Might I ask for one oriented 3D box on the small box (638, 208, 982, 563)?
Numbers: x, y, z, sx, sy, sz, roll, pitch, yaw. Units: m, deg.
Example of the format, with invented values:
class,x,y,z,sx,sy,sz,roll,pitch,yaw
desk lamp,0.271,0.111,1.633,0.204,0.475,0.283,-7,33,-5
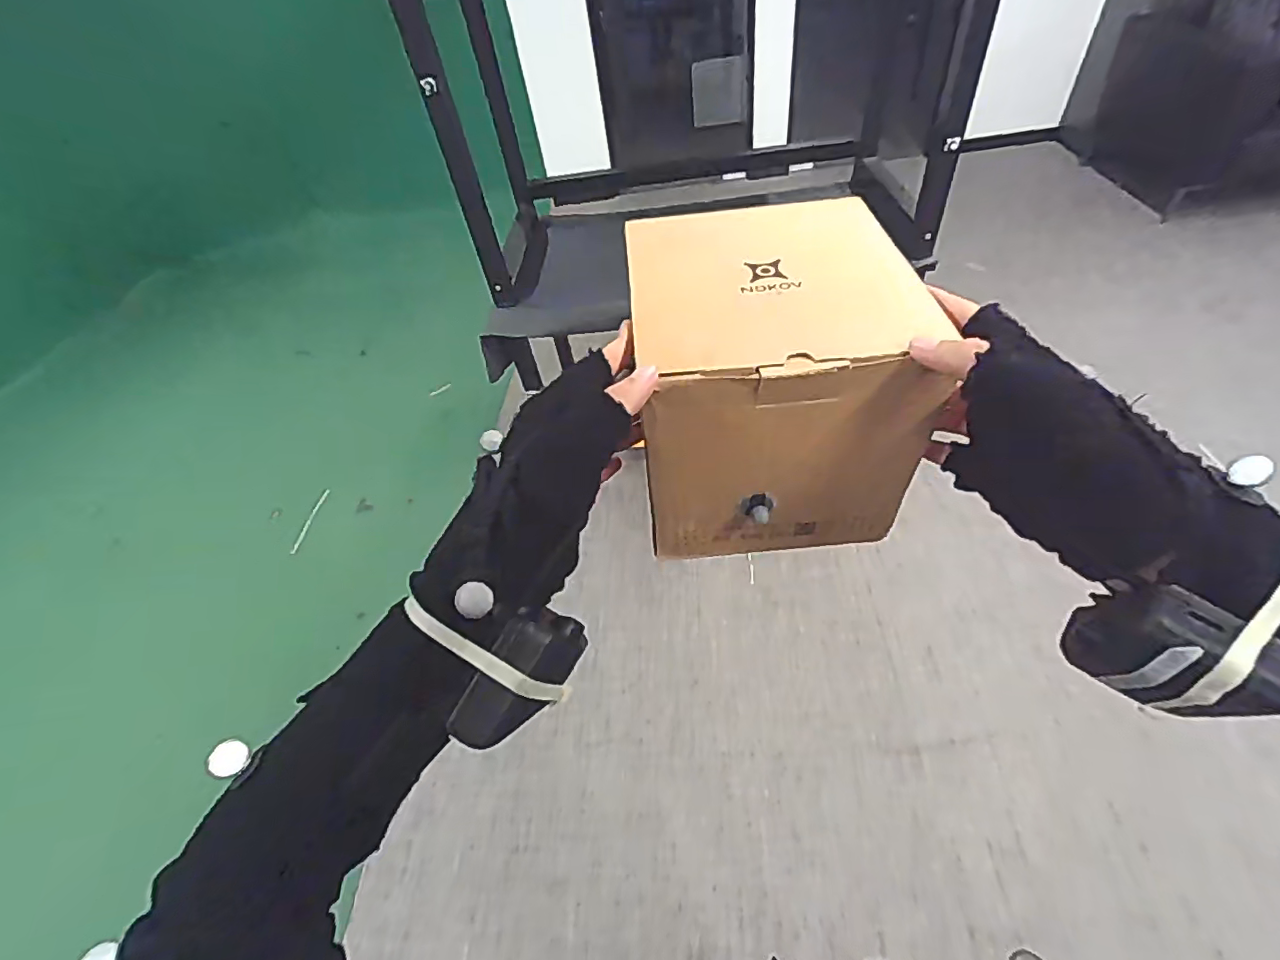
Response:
class,x,y,z,sx,sy,sz,roll,pitch,yaw
small box,0.086,-0.063,0.378,0.168,0.176,0.179,-5,49,1
